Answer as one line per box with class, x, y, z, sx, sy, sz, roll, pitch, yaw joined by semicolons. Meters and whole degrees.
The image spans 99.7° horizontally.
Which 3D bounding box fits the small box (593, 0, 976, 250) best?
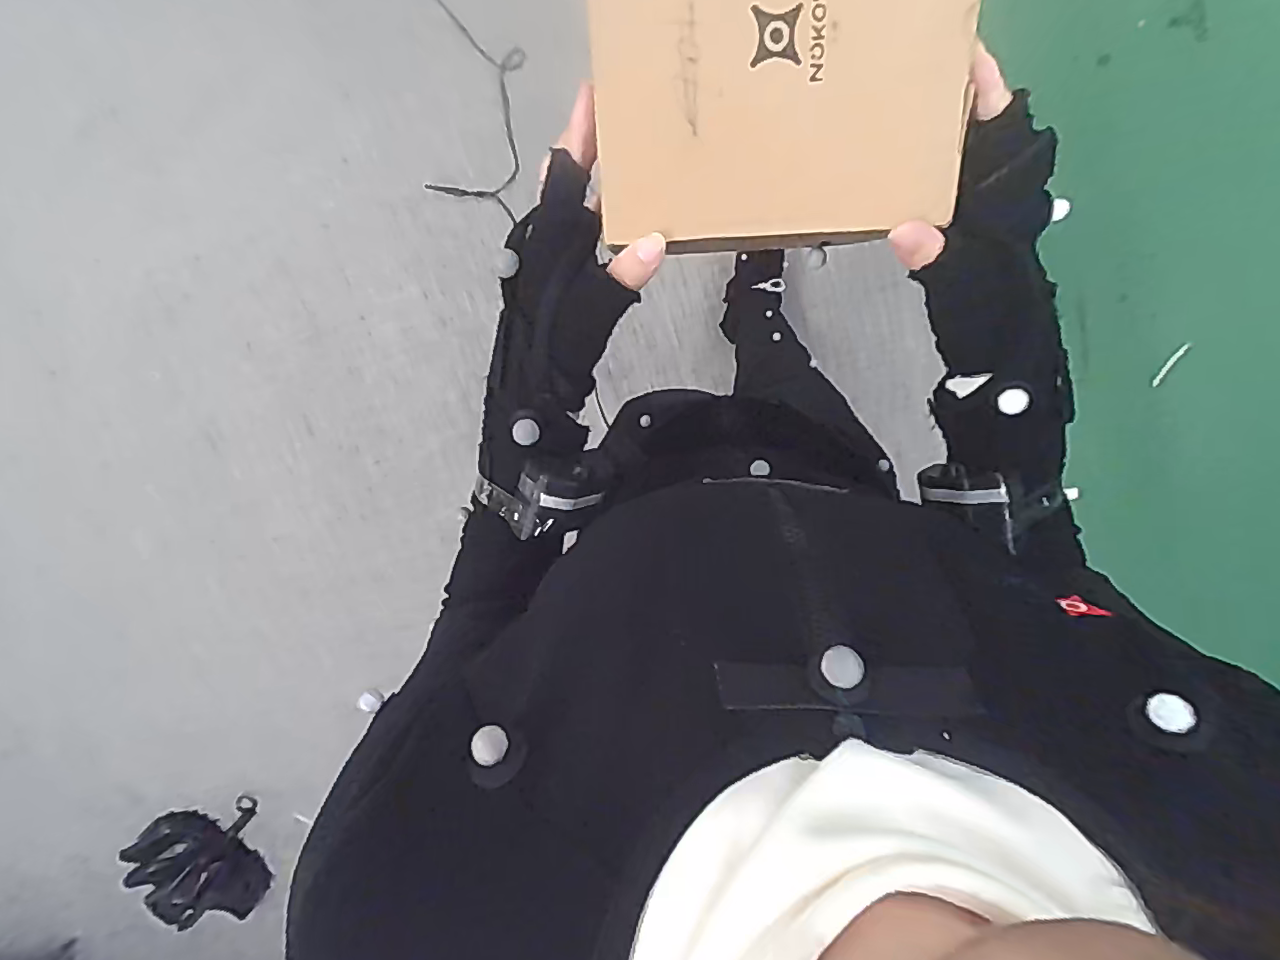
small box;0.065;-0.235;0.321;0.179;0.176;0.168;-4;109;2
